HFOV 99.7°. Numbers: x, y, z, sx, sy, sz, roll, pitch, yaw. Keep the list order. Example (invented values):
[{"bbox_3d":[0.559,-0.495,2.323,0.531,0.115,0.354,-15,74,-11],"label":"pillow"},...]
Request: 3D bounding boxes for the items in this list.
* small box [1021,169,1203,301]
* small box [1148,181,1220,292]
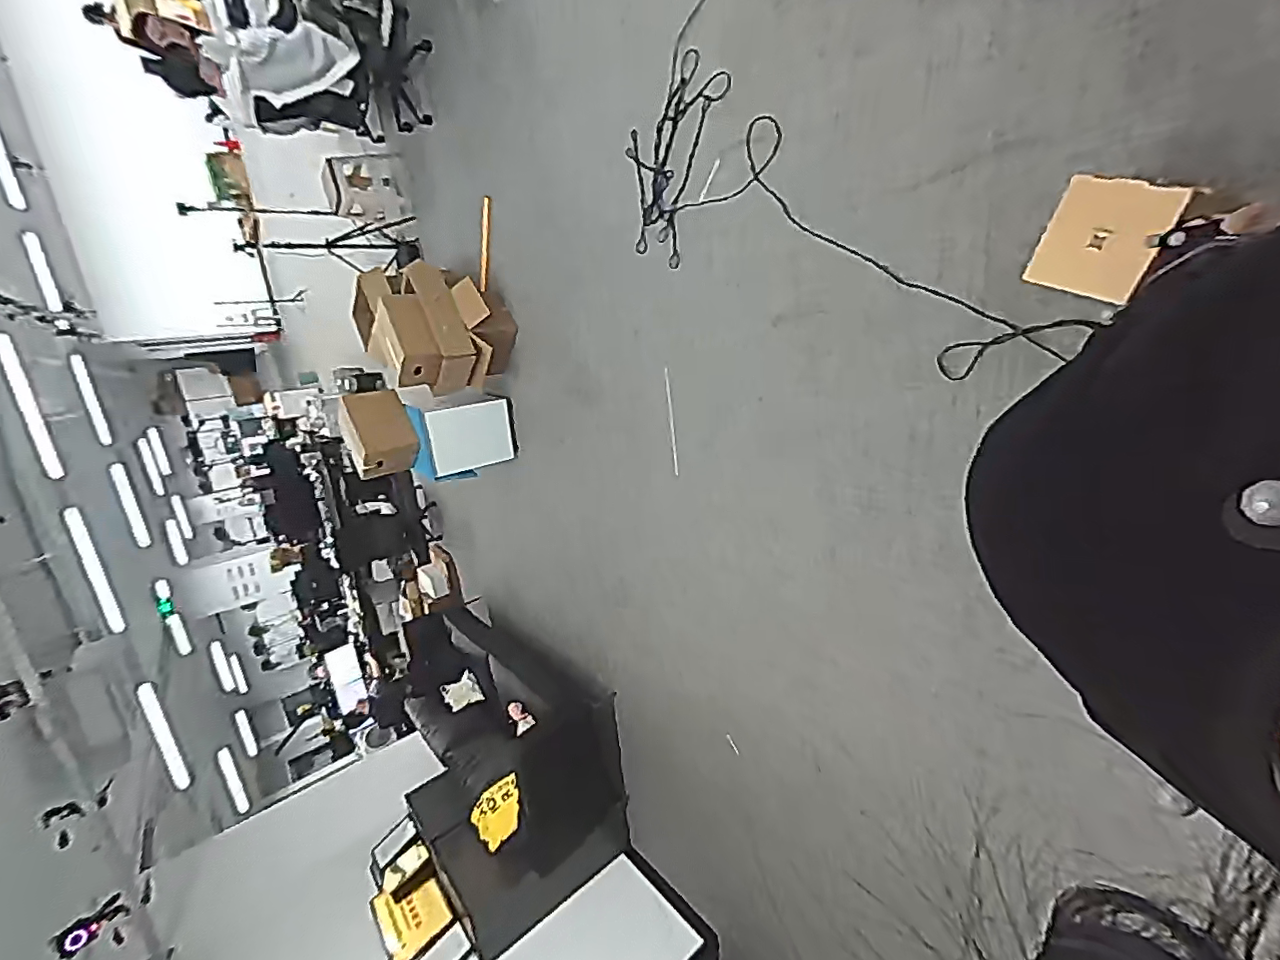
[{"bbox_3d":[0.824,-0.427,0.944,0.168,0.176,0.179,39,132,38],"label":"small box"},{"bbox_3d":[0.953,-0.468,1.033,0.168,0.176,0.179,33,130,42],"label":"small box"}]
